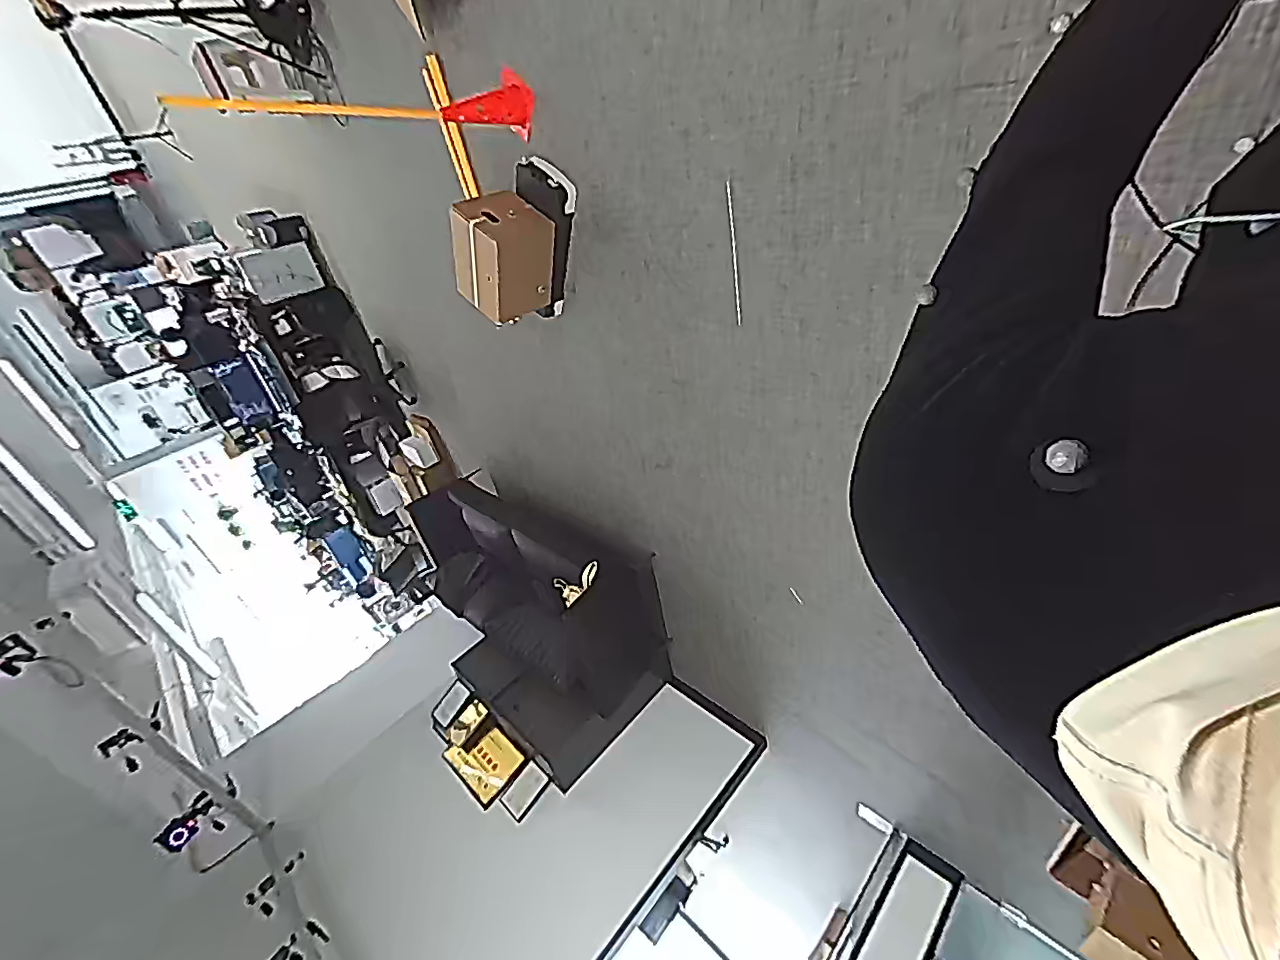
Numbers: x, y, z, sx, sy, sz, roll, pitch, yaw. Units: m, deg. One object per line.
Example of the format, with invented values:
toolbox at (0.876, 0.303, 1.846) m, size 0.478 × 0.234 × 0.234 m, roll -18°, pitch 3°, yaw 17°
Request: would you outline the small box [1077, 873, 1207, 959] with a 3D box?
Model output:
small box at (1.181, 1.089, 1.274) m, size 0.179 × 0.176 × 0.168 m, roll 25°, pitch 136°, yaw 38°
